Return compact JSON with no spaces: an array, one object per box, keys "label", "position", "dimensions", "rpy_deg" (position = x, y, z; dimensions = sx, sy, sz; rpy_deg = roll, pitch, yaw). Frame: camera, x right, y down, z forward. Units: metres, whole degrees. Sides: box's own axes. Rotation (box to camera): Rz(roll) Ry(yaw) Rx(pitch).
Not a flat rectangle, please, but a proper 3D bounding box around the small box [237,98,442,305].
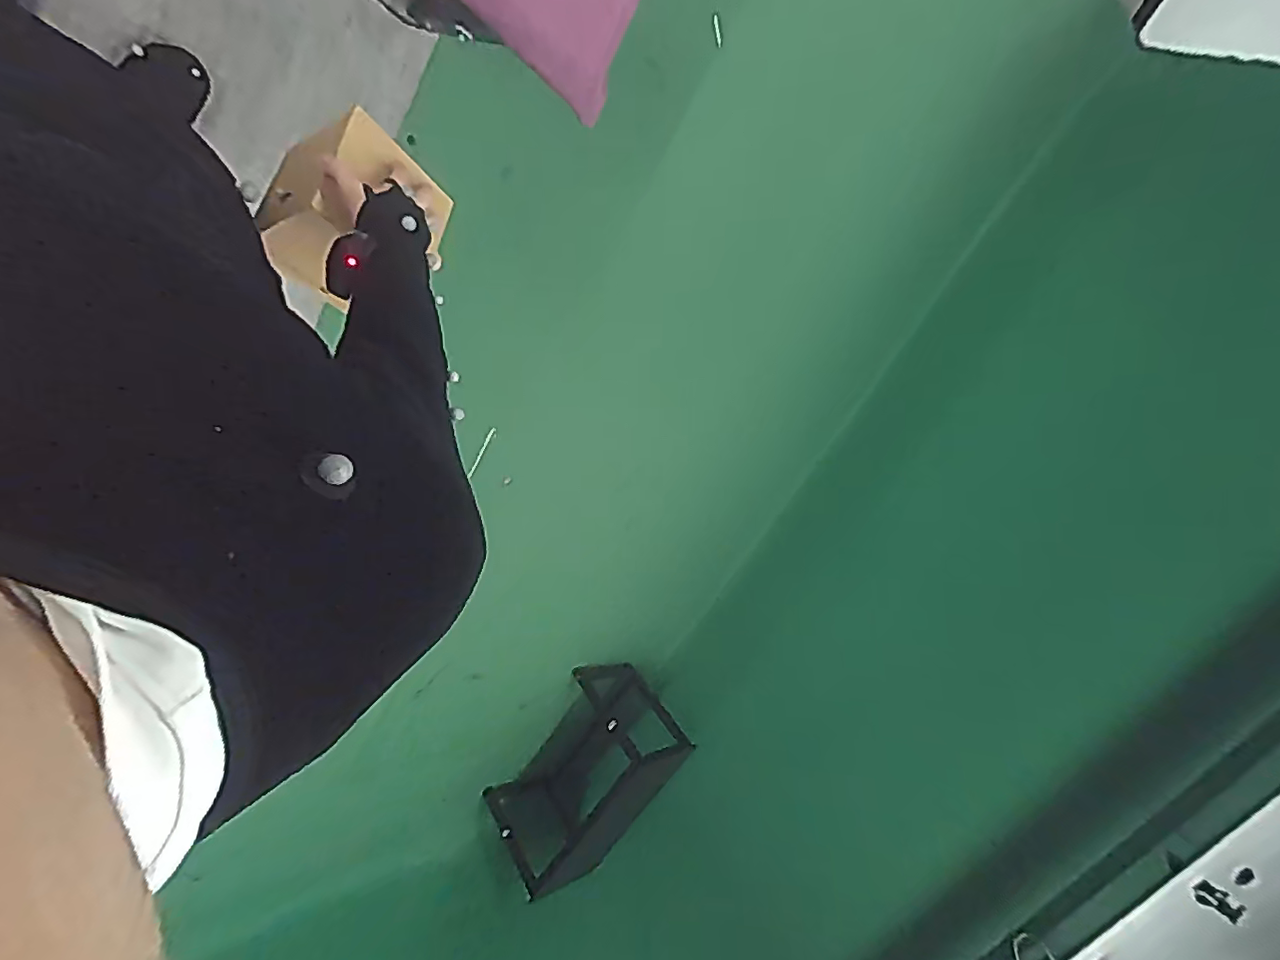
[{"label":"small box","position":[-0.418,-0.373,0.758],"dimensions":[0.168,0.176,0.179],"rpy_deg":[39,54,-54]}]
